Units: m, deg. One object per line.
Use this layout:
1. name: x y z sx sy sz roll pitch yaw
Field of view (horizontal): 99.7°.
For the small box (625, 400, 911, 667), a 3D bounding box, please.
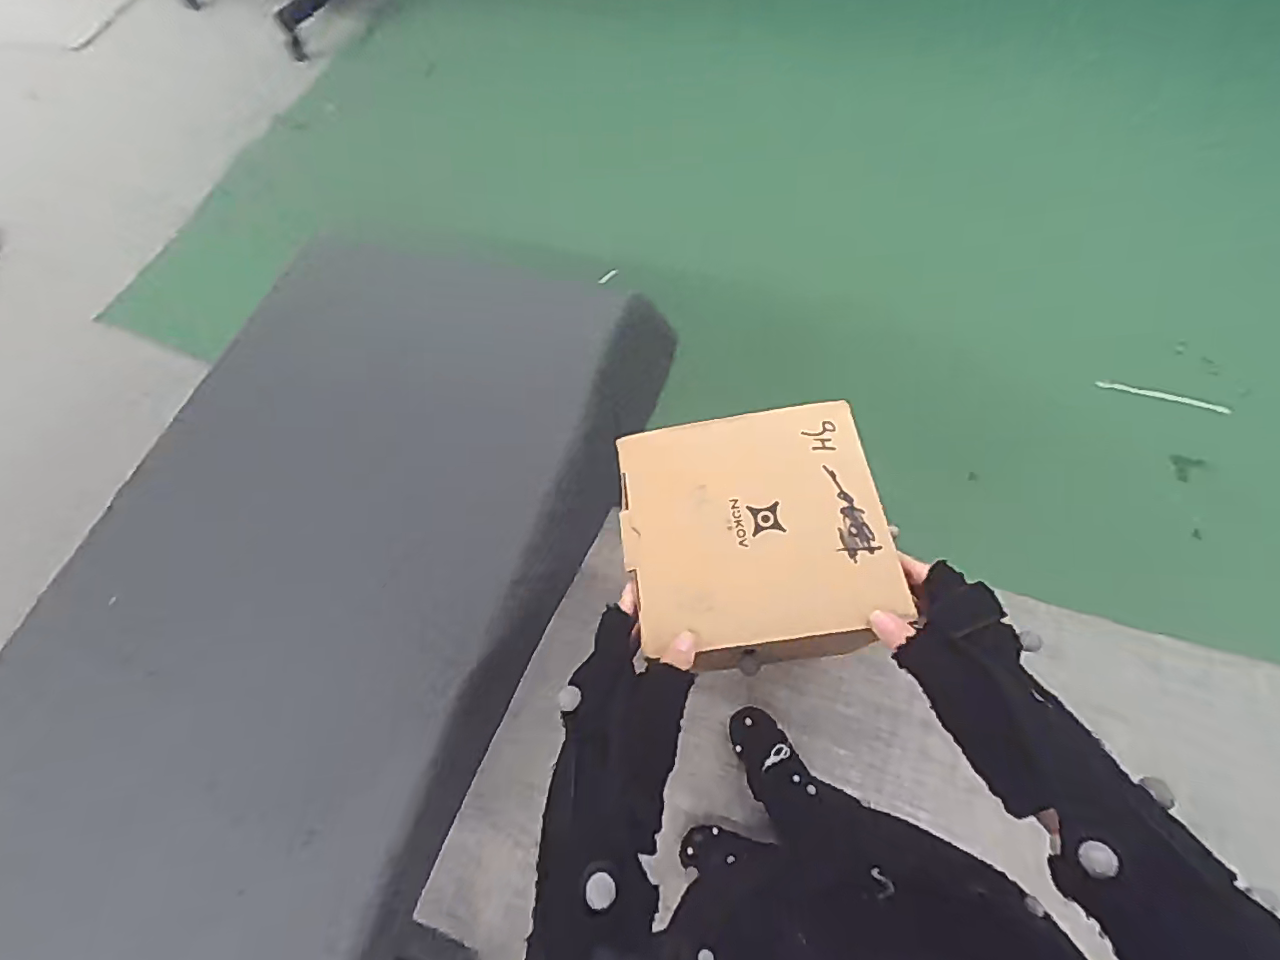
1. small box: 0.090 0.057 0.449 0.179 0.176 0.168 -7 65 4
